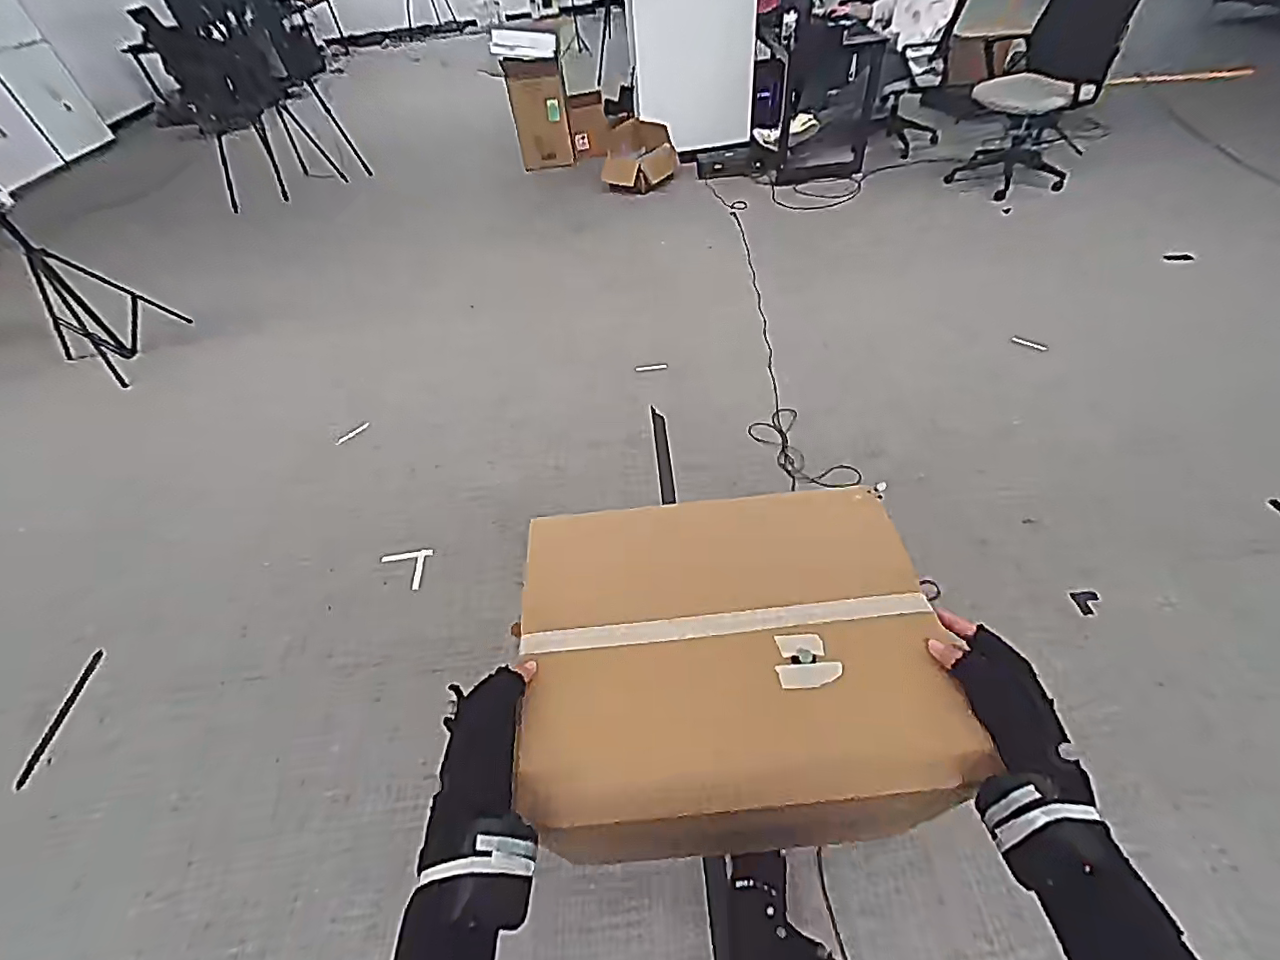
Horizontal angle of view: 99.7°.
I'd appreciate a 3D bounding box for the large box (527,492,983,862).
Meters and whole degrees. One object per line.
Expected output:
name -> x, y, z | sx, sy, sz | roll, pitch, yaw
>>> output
large box -> 0.094, 0.248, 0.667 | 0.408, 0.320, 0.320 | -6, 50, 0
